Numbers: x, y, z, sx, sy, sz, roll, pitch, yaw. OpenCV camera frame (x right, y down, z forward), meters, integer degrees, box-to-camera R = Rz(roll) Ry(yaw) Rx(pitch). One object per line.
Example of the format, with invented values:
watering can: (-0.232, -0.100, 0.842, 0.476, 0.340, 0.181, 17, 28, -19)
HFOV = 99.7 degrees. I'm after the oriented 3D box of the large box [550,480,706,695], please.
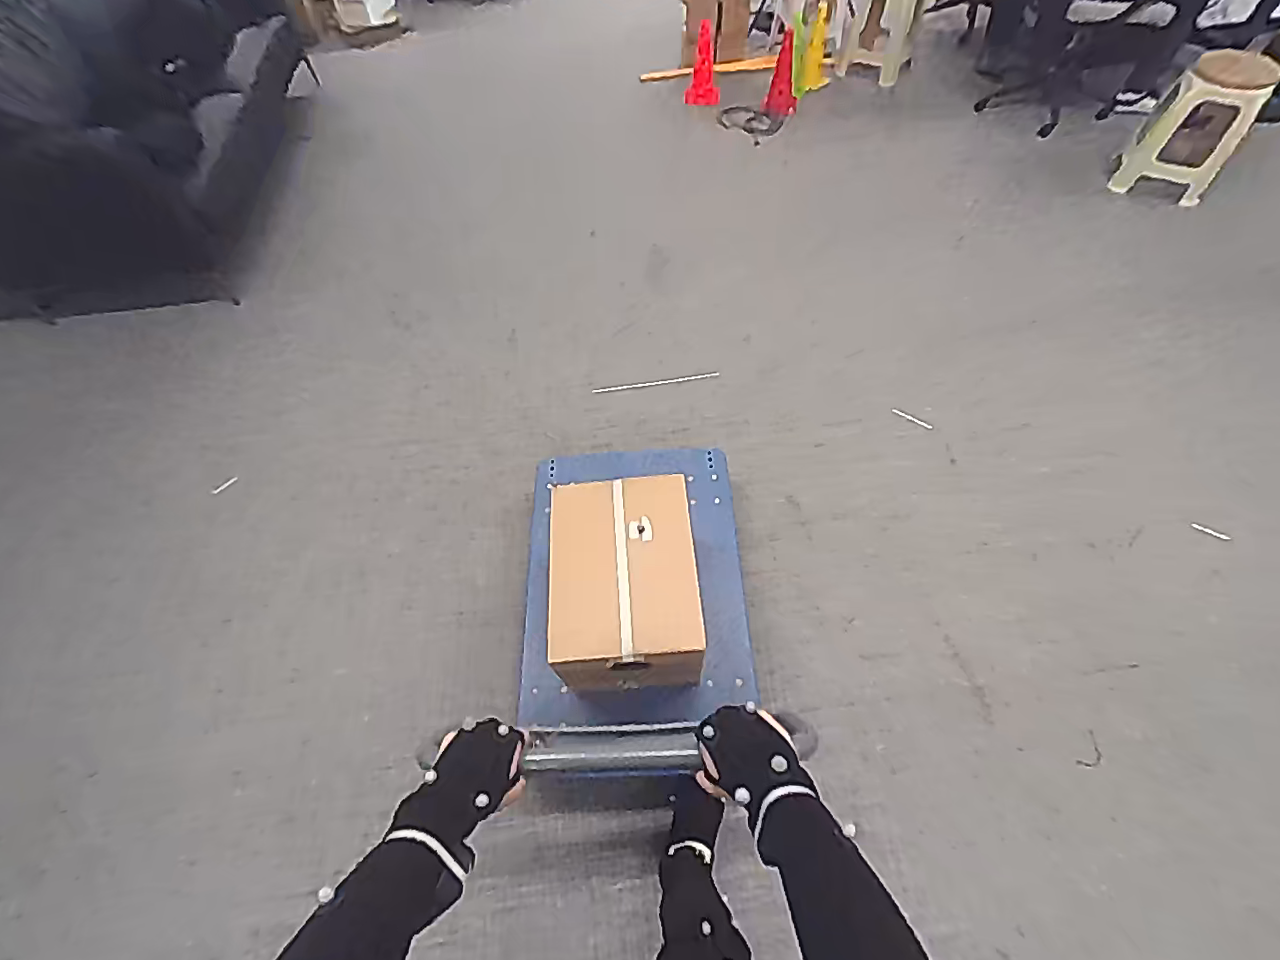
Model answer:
large box: (-0.028, 0.261, 1.287, 0.320, 0.320, 0.408, -6, 58, 1)
